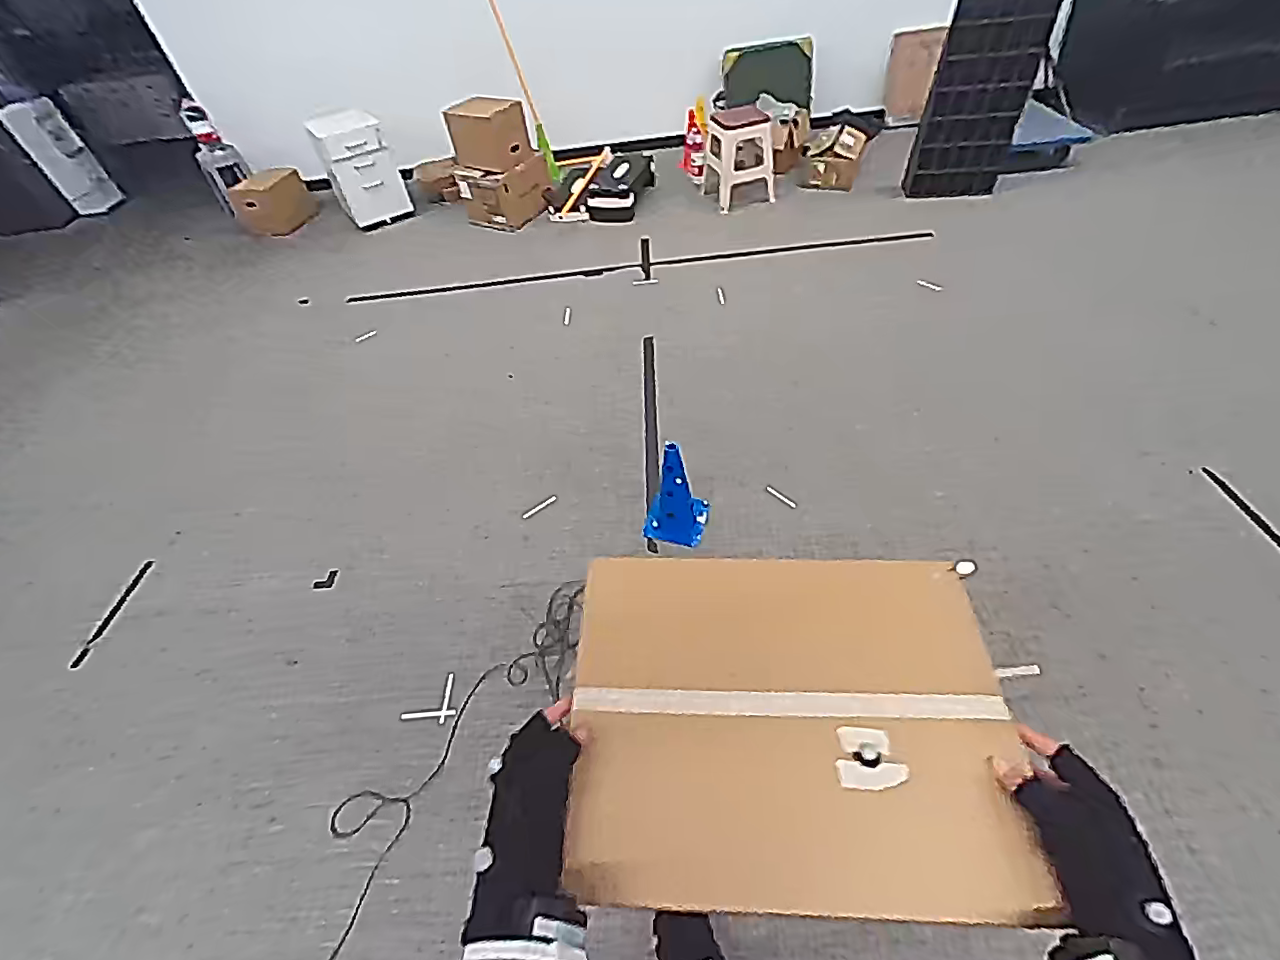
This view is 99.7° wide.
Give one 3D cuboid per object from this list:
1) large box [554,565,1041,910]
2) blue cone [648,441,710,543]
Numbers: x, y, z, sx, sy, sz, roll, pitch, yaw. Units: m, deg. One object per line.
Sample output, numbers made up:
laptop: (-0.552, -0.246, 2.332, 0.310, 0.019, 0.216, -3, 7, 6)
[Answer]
large box: (0.132, 0.314, 0.646, 0.408, 0.320, 0.320, -1, 52, 3)
blue cone: (0.119, 0.025, 1.762, 0.193, 0.380, 0.192, 12, 51, 17)
